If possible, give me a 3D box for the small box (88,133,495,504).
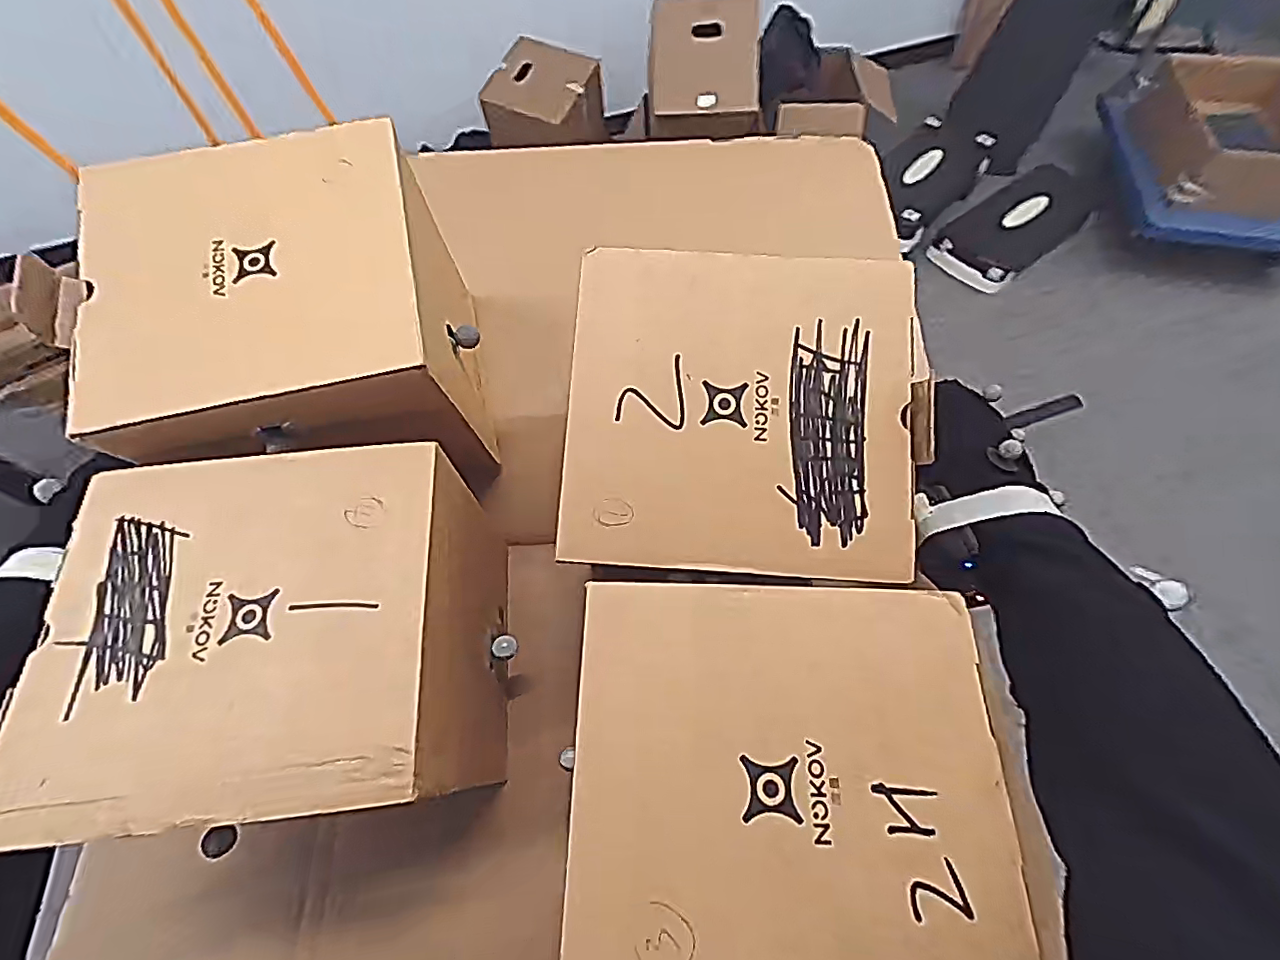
[{"bbox_3d":[-0.208,-0.092,0.374,0.179,0.176,0.168,-12,74,-3],"label":"small box"}]
